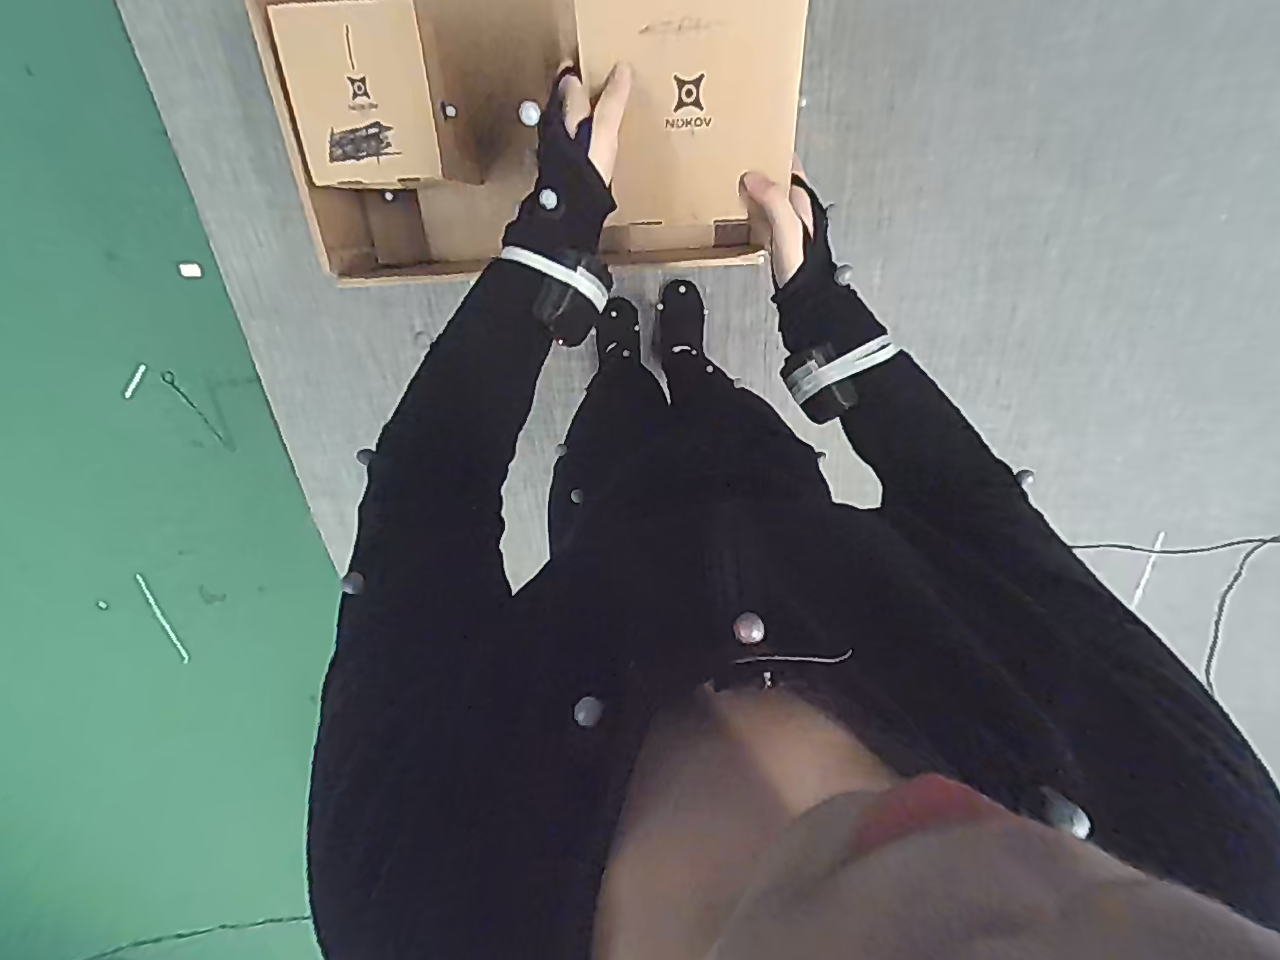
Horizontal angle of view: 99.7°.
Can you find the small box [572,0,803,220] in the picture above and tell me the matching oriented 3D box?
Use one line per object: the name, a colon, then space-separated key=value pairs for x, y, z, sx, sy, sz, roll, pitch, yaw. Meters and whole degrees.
small box: x=0.042 y=-0.338 z=0.476 sx=0.168 sy=0.176 sz=0.179 roll=2 pitch=123 yaw=6
